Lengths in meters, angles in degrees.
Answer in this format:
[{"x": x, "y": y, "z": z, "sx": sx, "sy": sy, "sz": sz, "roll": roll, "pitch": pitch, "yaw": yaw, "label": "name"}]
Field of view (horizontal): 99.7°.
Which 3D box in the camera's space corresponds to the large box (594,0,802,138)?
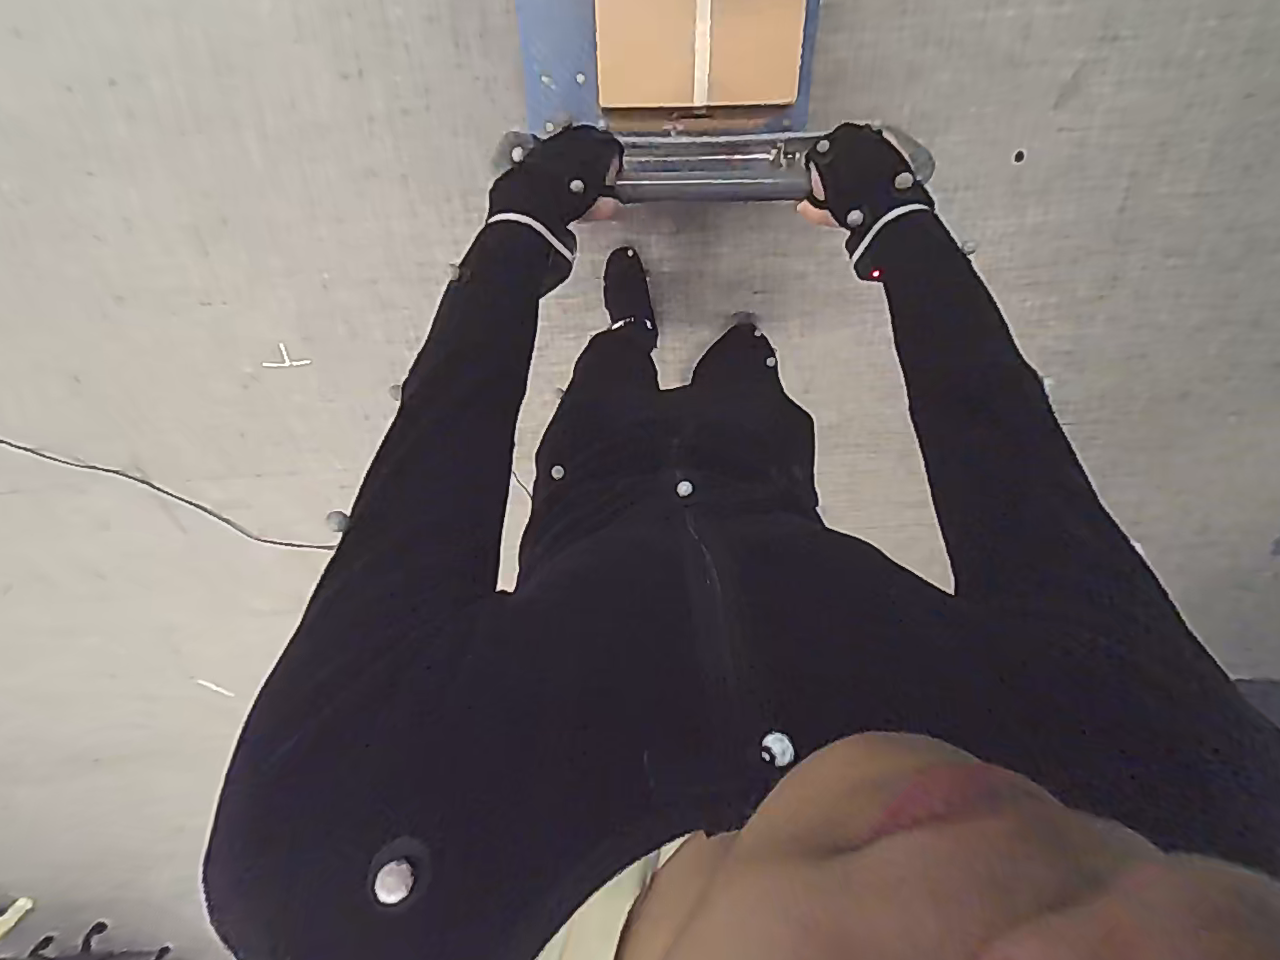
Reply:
[{"x": 0.083, "y": -0.830, "z": 0.904, "sx": 0.320, "sy": 0.320, "sz": 0.408, "roll": -2, "pitch": 116, "yaw": -2, "label": "large box"}]
